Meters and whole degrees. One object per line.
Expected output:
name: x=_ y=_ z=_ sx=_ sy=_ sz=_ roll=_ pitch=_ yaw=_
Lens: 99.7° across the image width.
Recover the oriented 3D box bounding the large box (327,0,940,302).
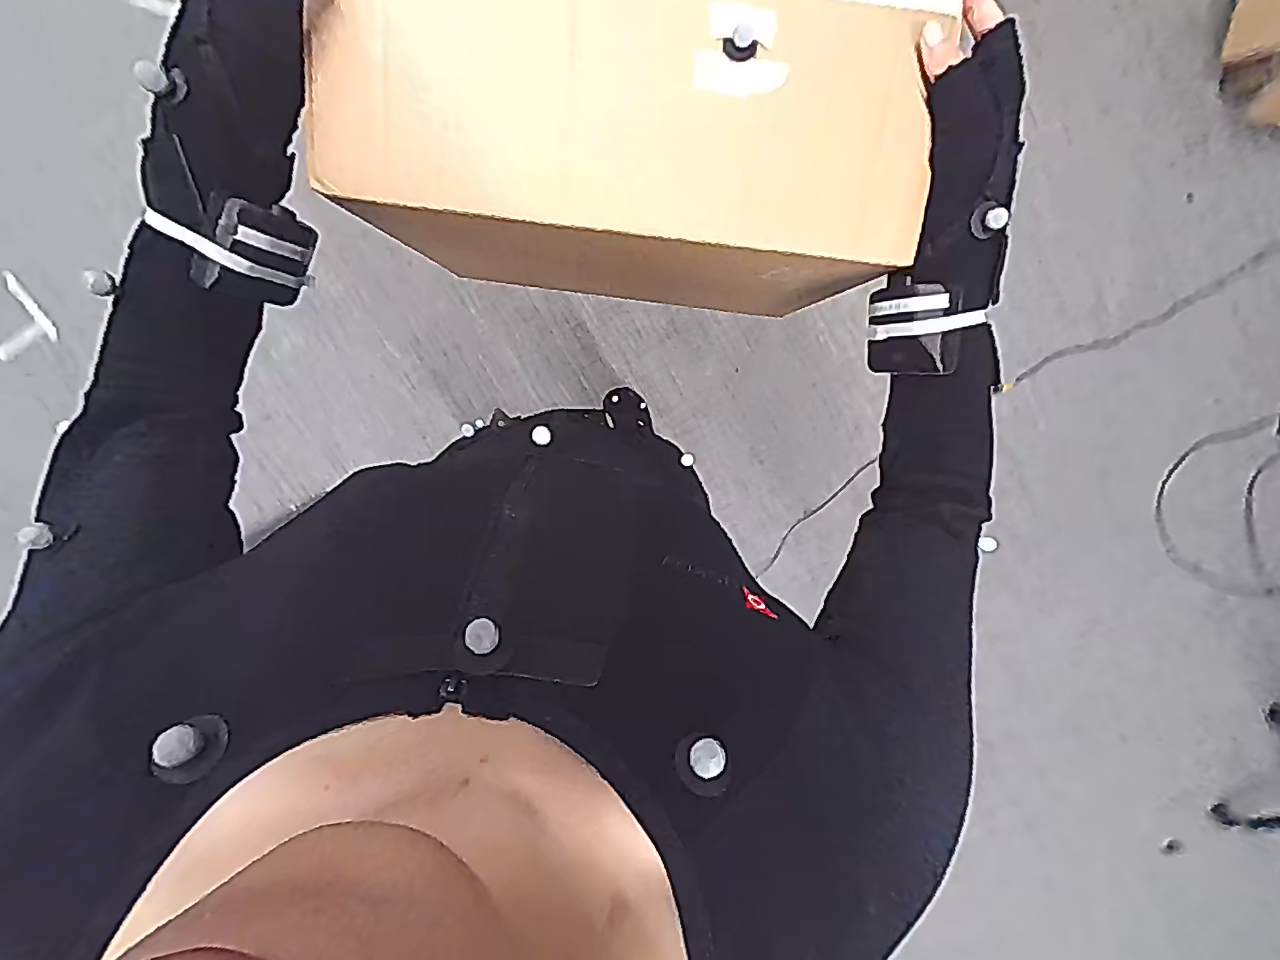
large box: x=-0.005 y=-0.357 z=0.494 sx=0.408 sy=0.320 sz=0.320 roll=5 pitch=101 yaw=-3
